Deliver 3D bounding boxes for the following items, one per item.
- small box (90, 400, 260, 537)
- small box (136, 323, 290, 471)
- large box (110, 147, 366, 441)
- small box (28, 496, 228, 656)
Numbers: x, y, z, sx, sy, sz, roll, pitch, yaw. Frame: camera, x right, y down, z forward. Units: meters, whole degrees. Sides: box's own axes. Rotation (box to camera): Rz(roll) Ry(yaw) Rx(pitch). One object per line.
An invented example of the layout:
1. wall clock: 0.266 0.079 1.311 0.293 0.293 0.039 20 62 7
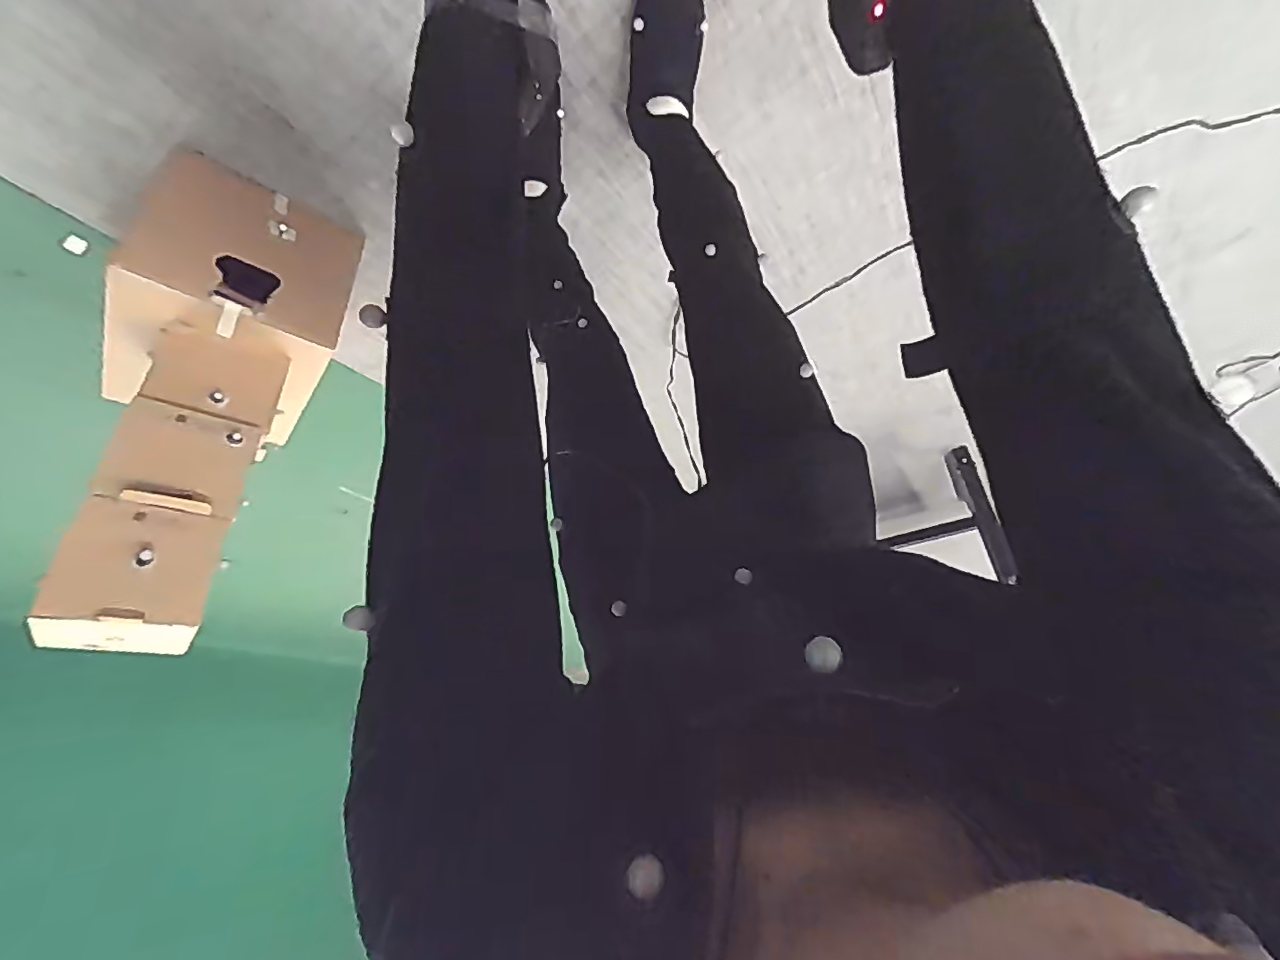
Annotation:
1. small box: -0.731 -0.001 0.858 0.168 0.176 0.179 20 143 -36
2. small box: -0.741 -0.140 0.943 0.179 0.176 0.168 21 142 -37
3. large box: -0.793 -0.338 1.083 0.320 0.320 0.408 22 143 -35
4. small box: -0.724 0.142 0.777 0.168 0.176 0.179 21 141 -36
